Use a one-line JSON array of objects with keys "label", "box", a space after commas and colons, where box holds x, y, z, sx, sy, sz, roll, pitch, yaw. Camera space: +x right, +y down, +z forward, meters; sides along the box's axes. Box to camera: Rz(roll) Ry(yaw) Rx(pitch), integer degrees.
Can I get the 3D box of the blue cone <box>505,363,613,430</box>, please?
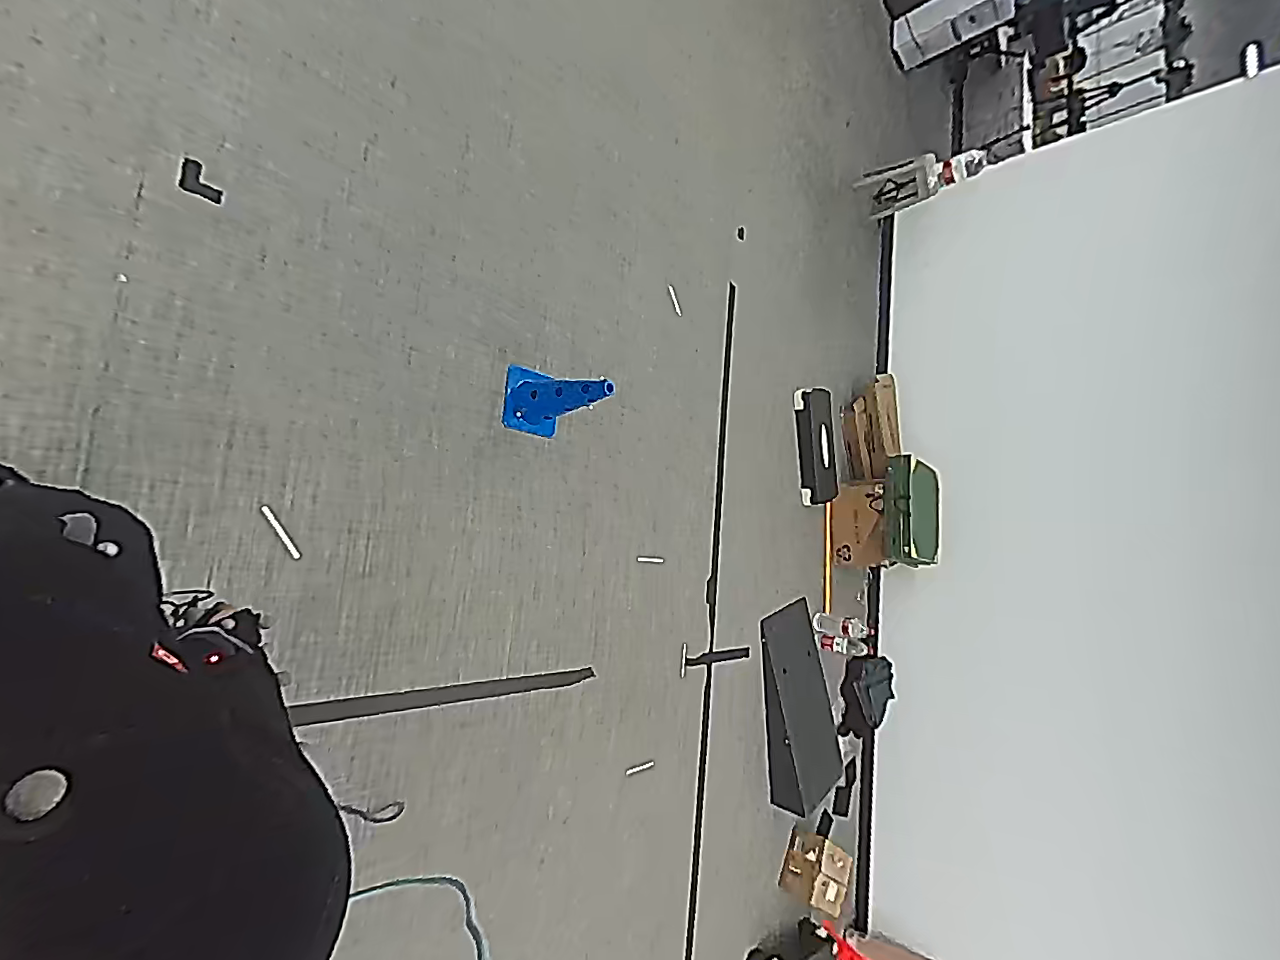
[{"label": "blue cone", "box": [-0.222, -0.266, 1.594, 0.193, 0.380, 0.192, 13, 79, -47]}]
